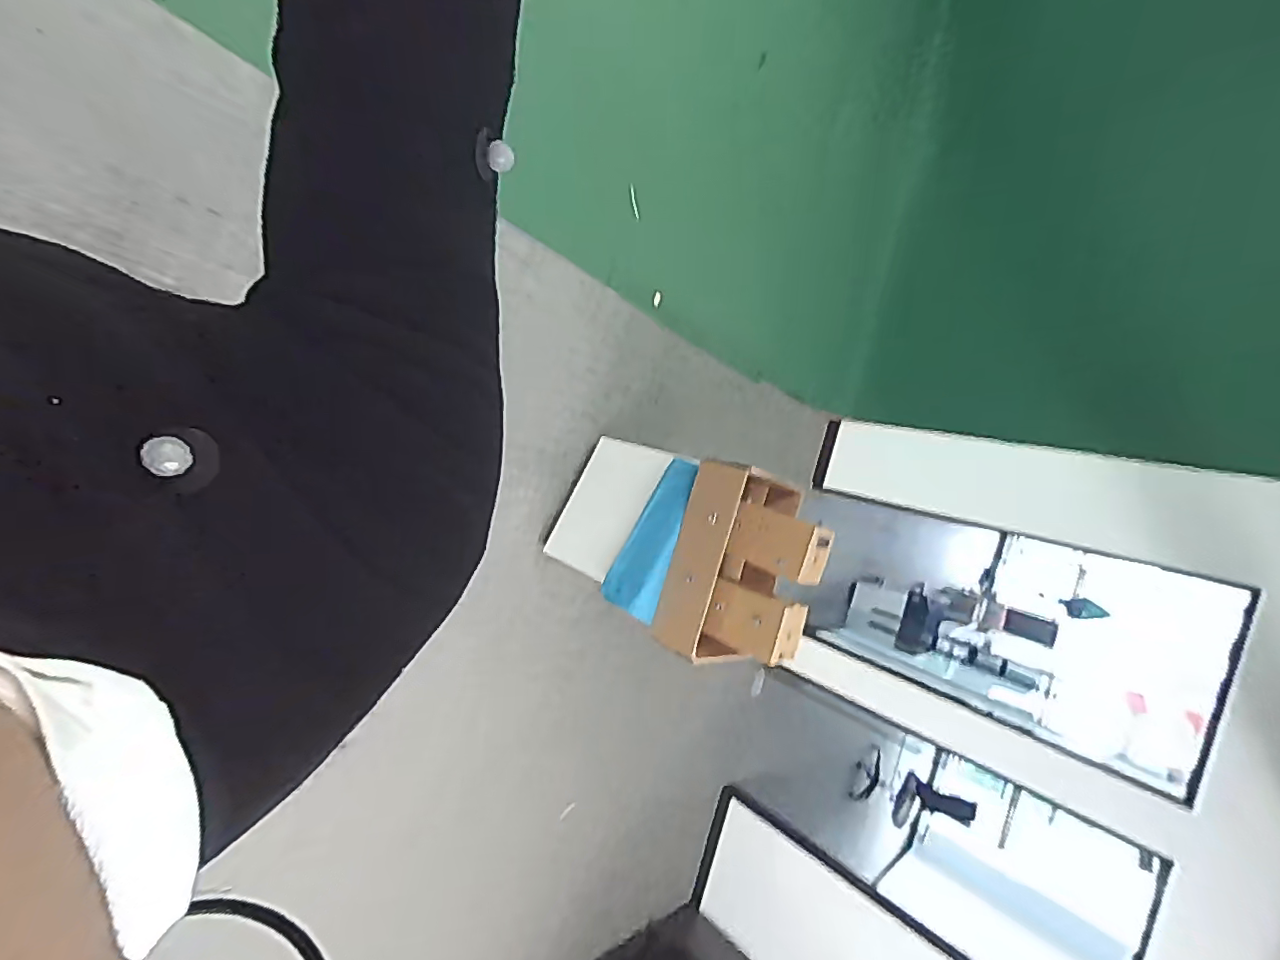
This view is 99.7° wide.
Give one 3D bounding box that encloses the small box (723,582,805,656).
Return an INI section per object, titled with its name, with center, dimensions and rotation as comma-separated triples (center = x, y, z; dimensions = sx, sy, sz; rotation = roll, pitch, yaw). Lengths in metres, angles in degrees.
[small box]
center = 0.378, 0.421, 1.662
dimensions = 0.168, 0.176, 0.179
rotation = 15, 90, -48
